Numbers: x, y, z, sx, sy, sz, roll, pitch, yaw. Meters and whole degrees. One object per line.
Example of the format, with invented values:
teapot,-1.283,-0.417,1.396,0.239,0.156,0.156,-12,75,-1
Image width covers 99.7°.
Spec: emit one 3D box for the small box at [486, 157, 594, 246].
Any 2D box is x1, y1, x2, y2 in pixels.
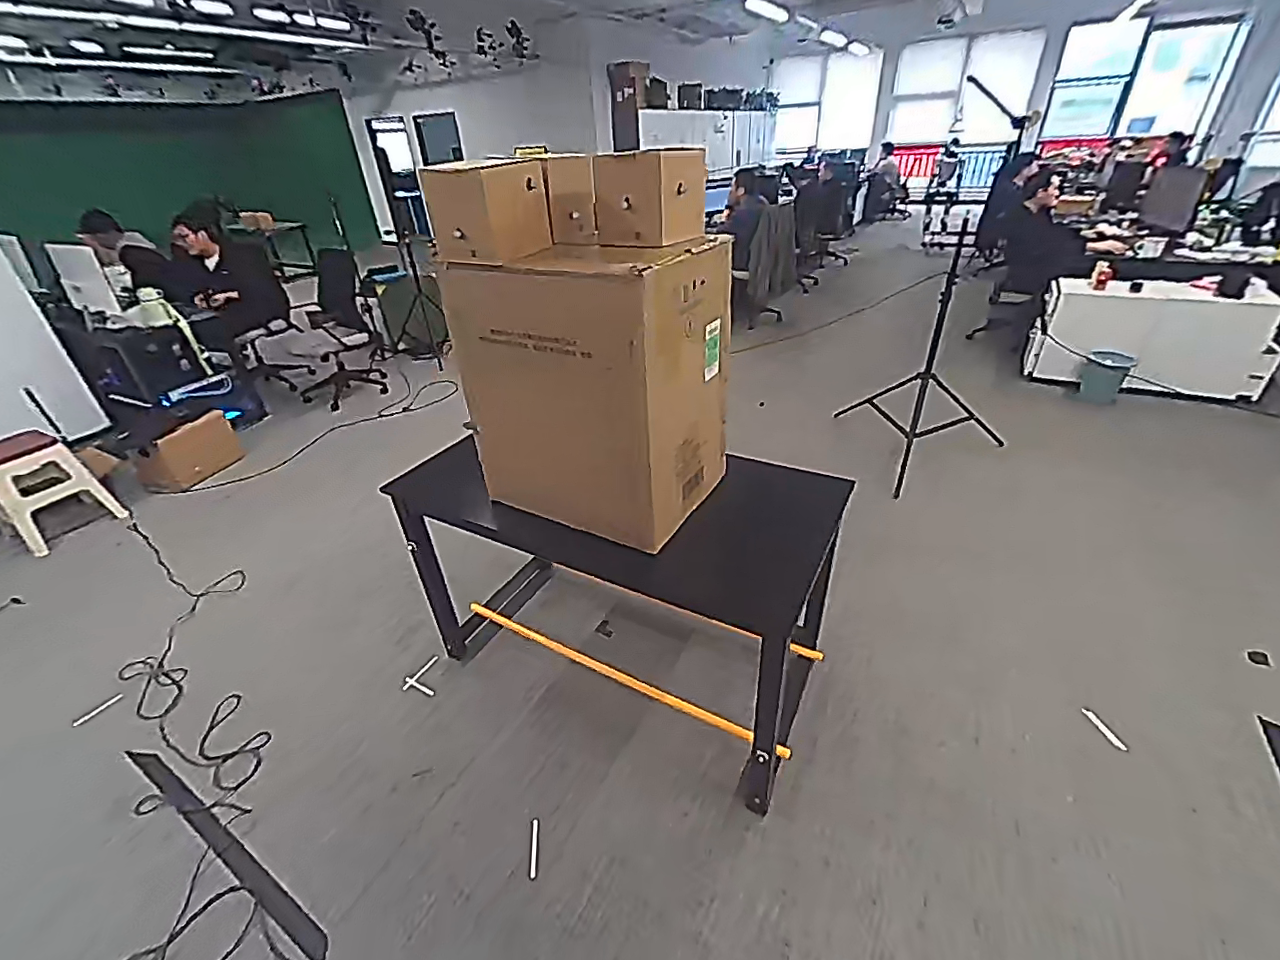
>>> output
small box,-0.224,-0.642,1.246,0.179,0.176,0.168,16,37,26
